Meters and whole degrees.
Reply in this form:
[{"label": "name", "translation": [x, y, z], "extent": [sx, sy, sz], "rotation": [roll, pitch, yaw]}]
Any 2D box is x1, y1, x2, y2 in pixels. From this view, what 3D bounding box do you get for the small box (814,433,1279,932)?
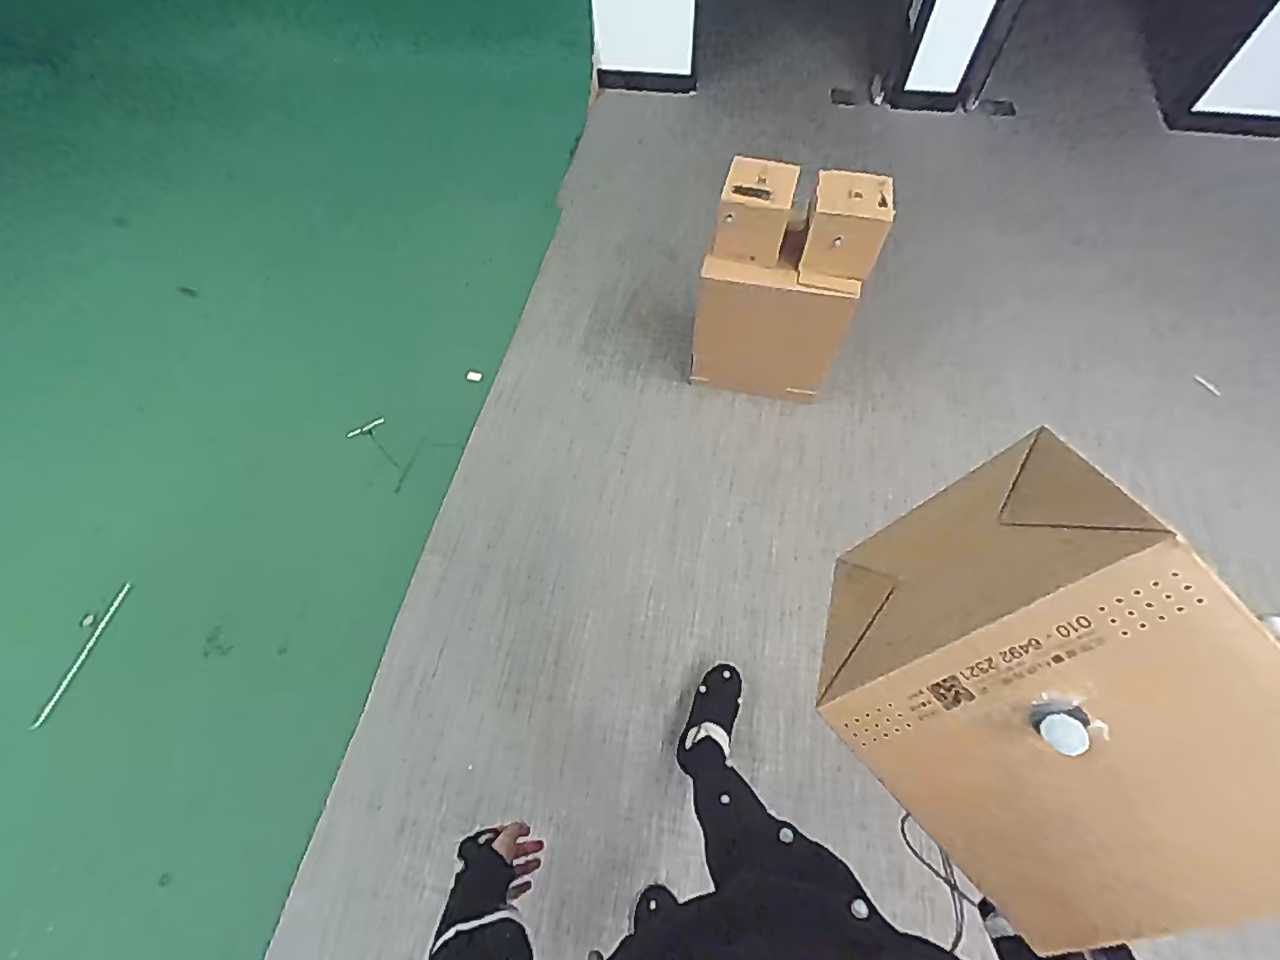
[{"label": "small box", "translation": [0.224, 0.095, 0.310], "extent": [0.176, 0.168, 0.179], "rotation": [48, 30, 2]}]
